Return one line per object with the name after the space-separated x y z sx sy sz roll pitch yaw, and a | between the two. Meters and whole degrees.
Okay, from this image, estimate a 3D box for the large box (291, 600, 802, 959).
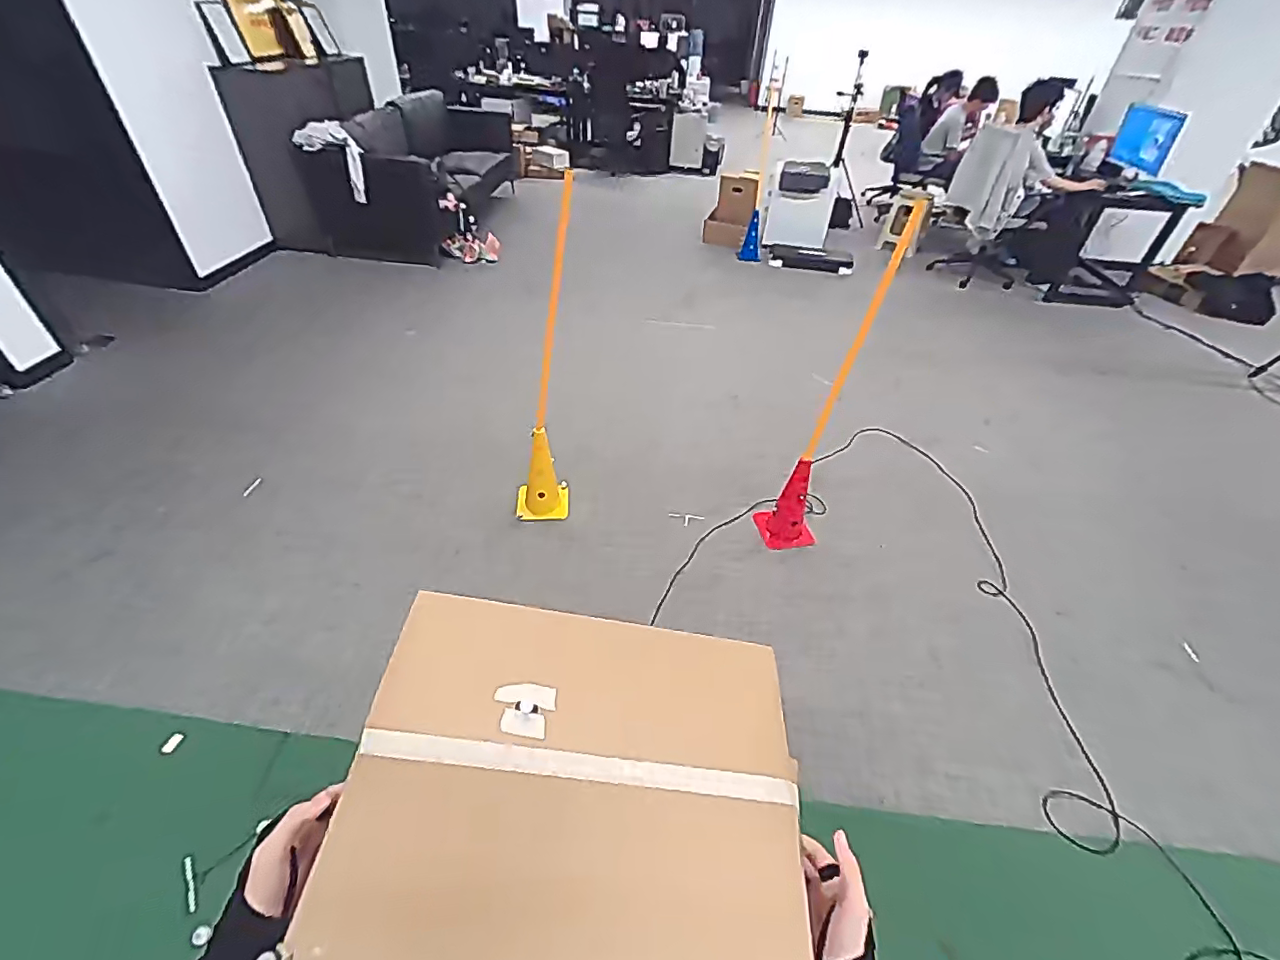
-0.080 0.372 0.619 0.408 0.320 0.320 10 46 -6 | large box
